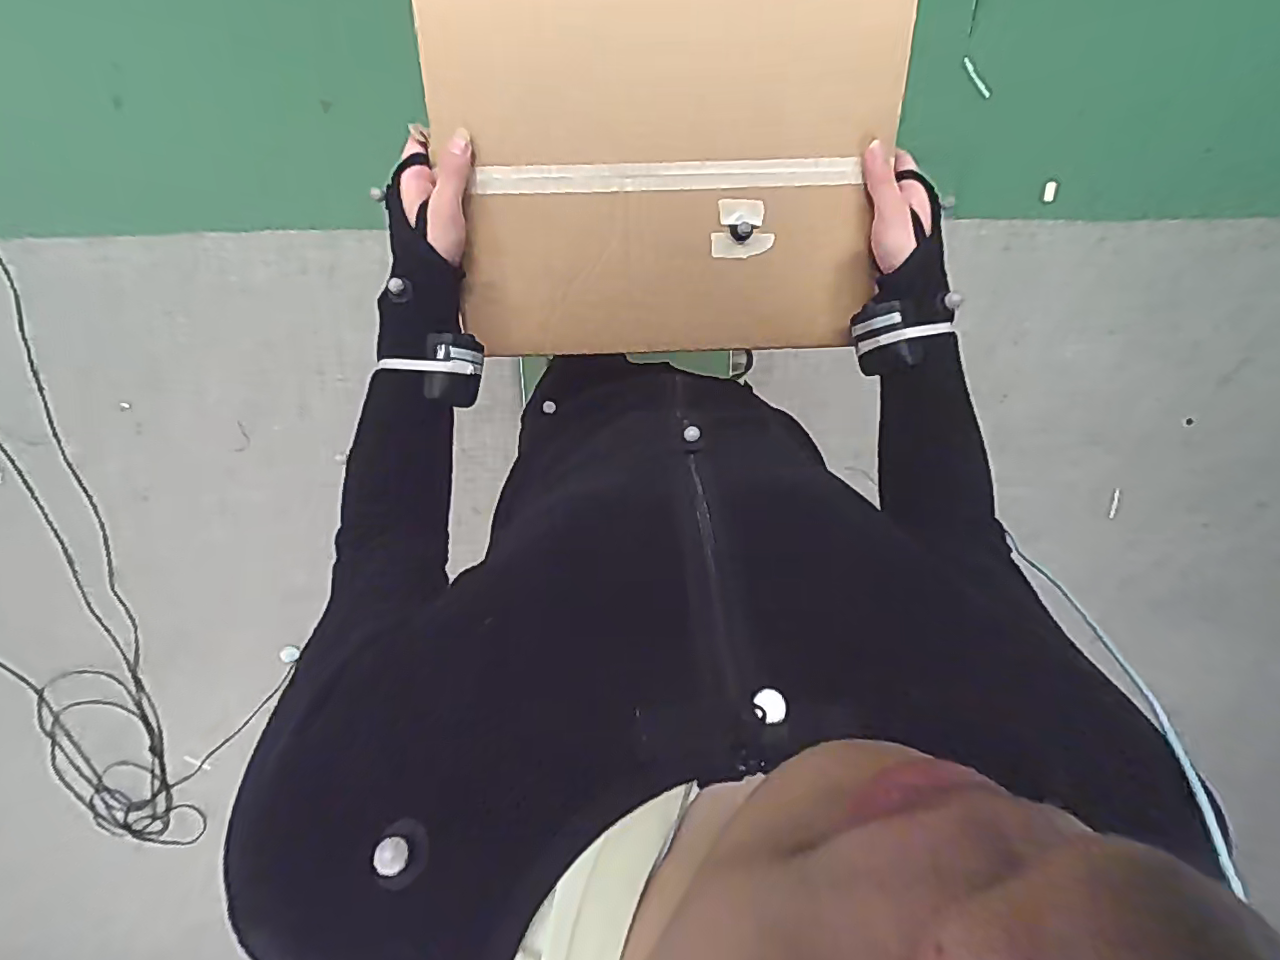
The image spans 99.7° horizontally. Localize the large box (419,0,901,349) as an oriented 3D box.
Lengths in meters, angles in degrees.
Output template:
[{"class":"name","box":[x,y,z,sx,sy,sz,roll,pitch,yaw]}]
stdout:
[{"class":"large box","box":[0.014,-0.344,0.627,0.408,0.320,0.320,-3,115,-3]}]
